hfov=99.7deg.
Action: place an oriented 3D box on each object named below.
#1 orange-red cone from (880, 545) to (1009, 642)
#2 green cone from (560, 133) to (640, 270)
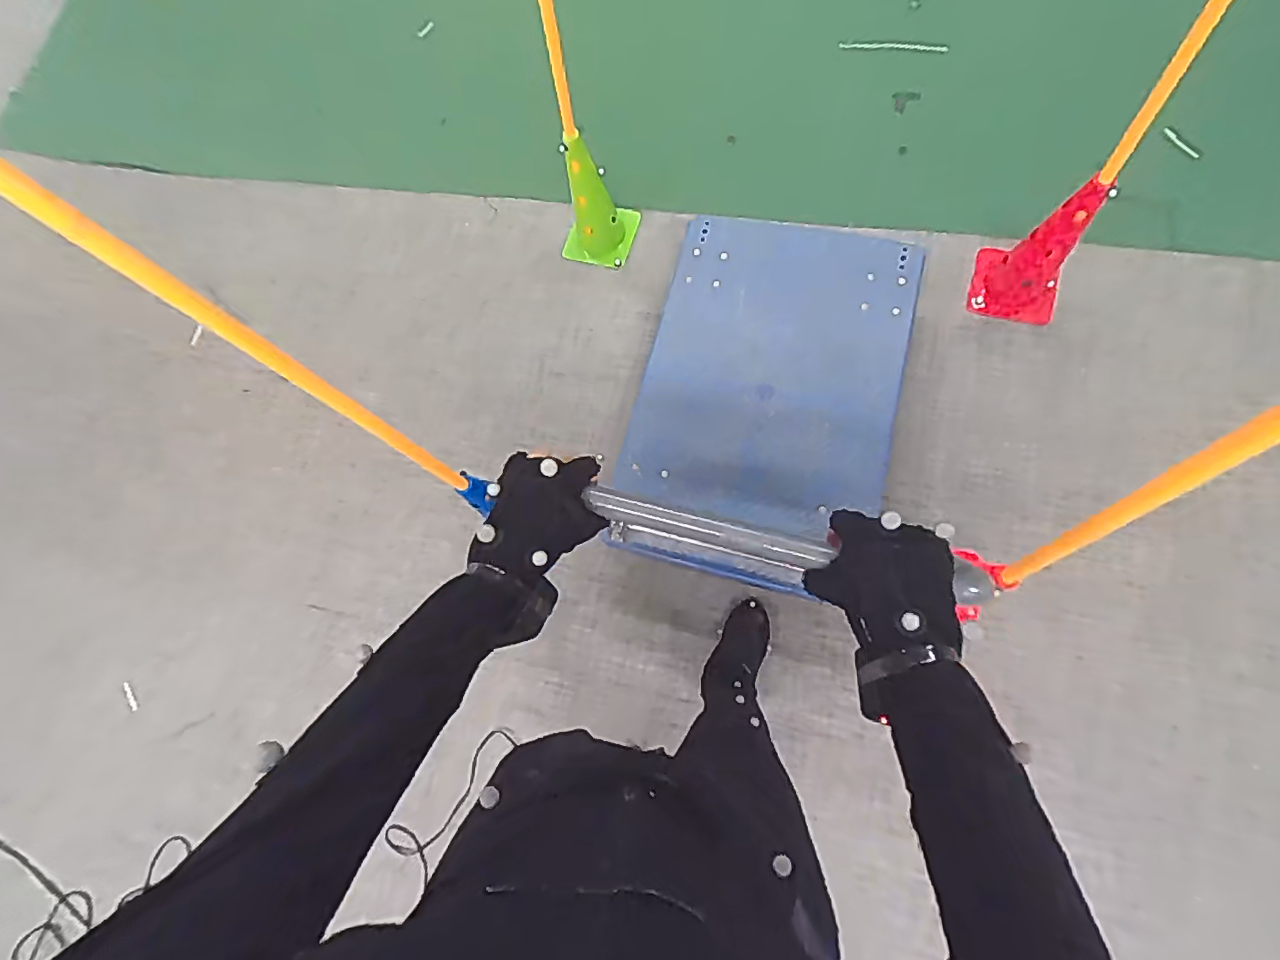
[{"bbox_3d":[0.642,0.215,1.097,0.199,0.360,0.198,10,76,13],"label":"orange-red cone"},{"bbox_3d":[-0.140,-0.778,1.474,0.202,0.368,0.200,15,77,13],"label":"green cone"}]
